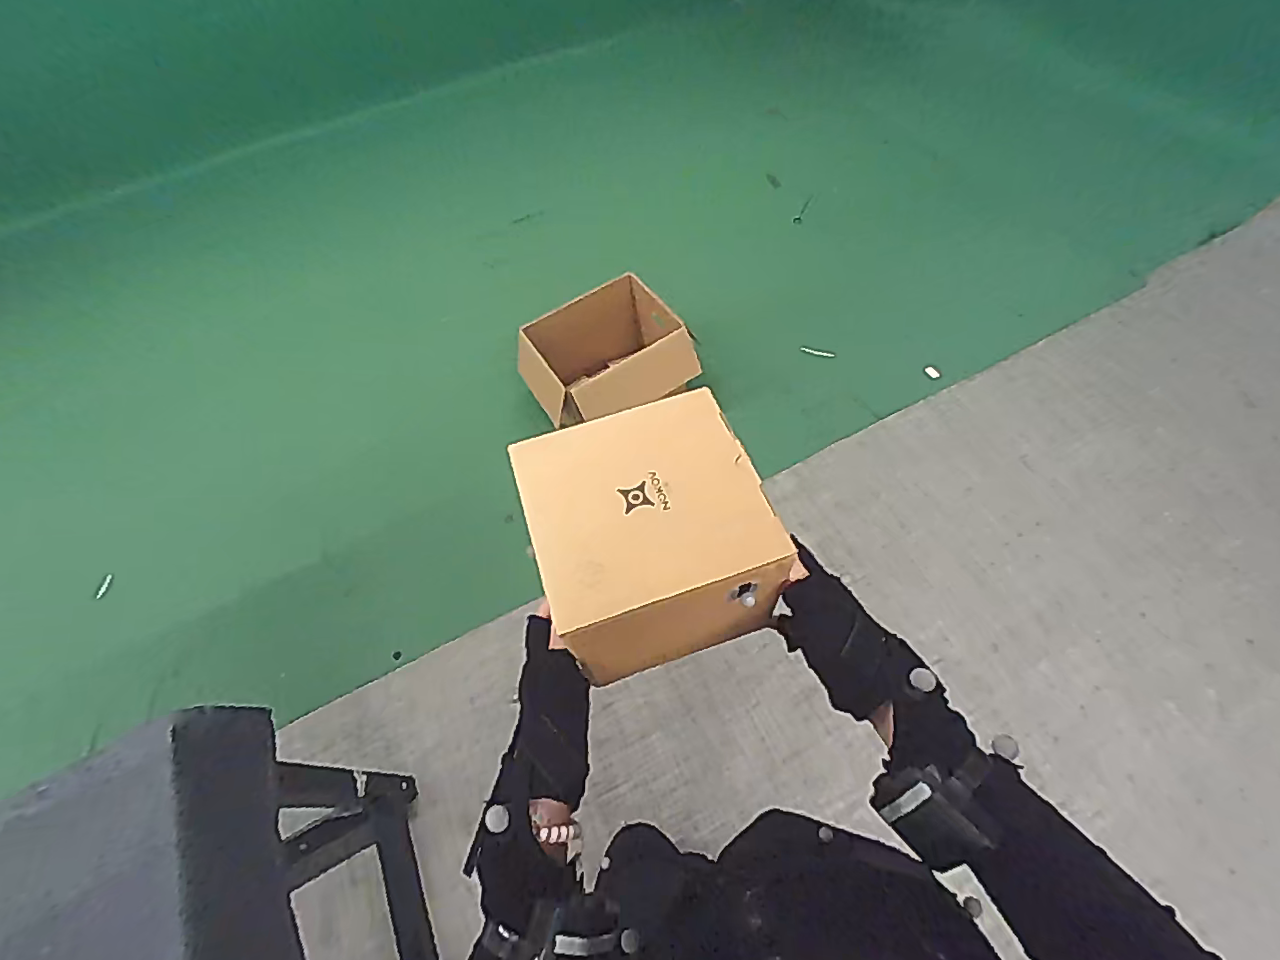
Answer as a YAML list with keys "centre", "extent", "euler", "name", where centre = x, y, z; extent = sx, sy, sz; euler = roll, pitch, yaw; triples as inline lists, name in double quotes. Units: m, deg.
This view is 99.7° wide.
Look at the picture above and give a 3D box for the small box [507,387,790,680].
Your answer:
- centre: [0.004, 0.054, 0.468]
  extent: [0.179, 0.176, 0.168]
  euler: [-17, 58, -7]
  name: "small box"
